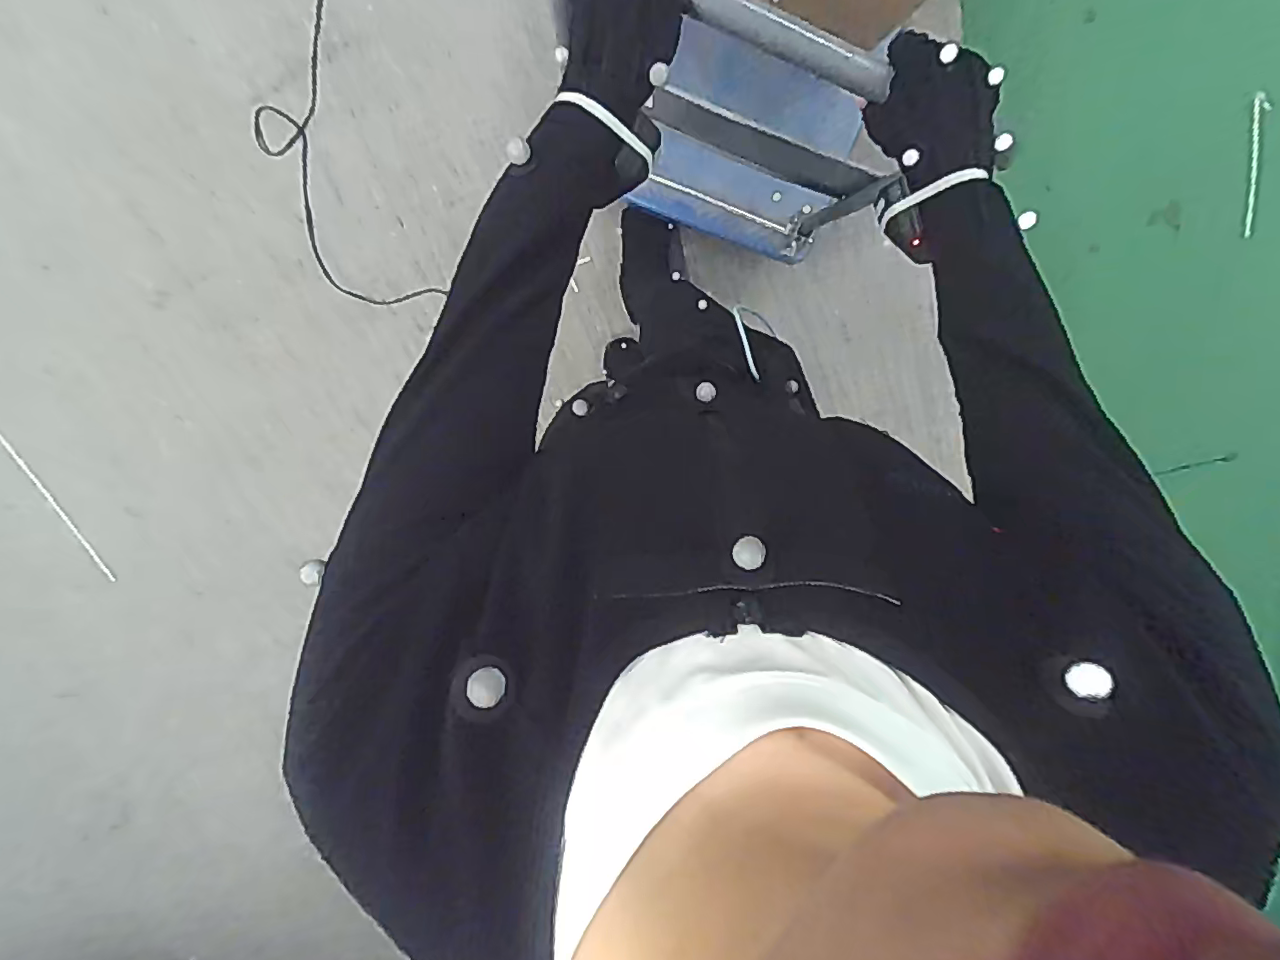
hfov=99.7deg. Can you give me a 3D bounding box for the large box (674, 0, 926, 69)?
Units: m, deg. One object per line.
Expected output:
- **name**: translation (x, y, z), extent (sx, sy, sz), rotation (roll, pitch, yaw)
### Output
- **large box**: translation (0.275, -0.937, 0.849), extent (0.408, 0.320, 0.320), rotation (17, 107, -8)
